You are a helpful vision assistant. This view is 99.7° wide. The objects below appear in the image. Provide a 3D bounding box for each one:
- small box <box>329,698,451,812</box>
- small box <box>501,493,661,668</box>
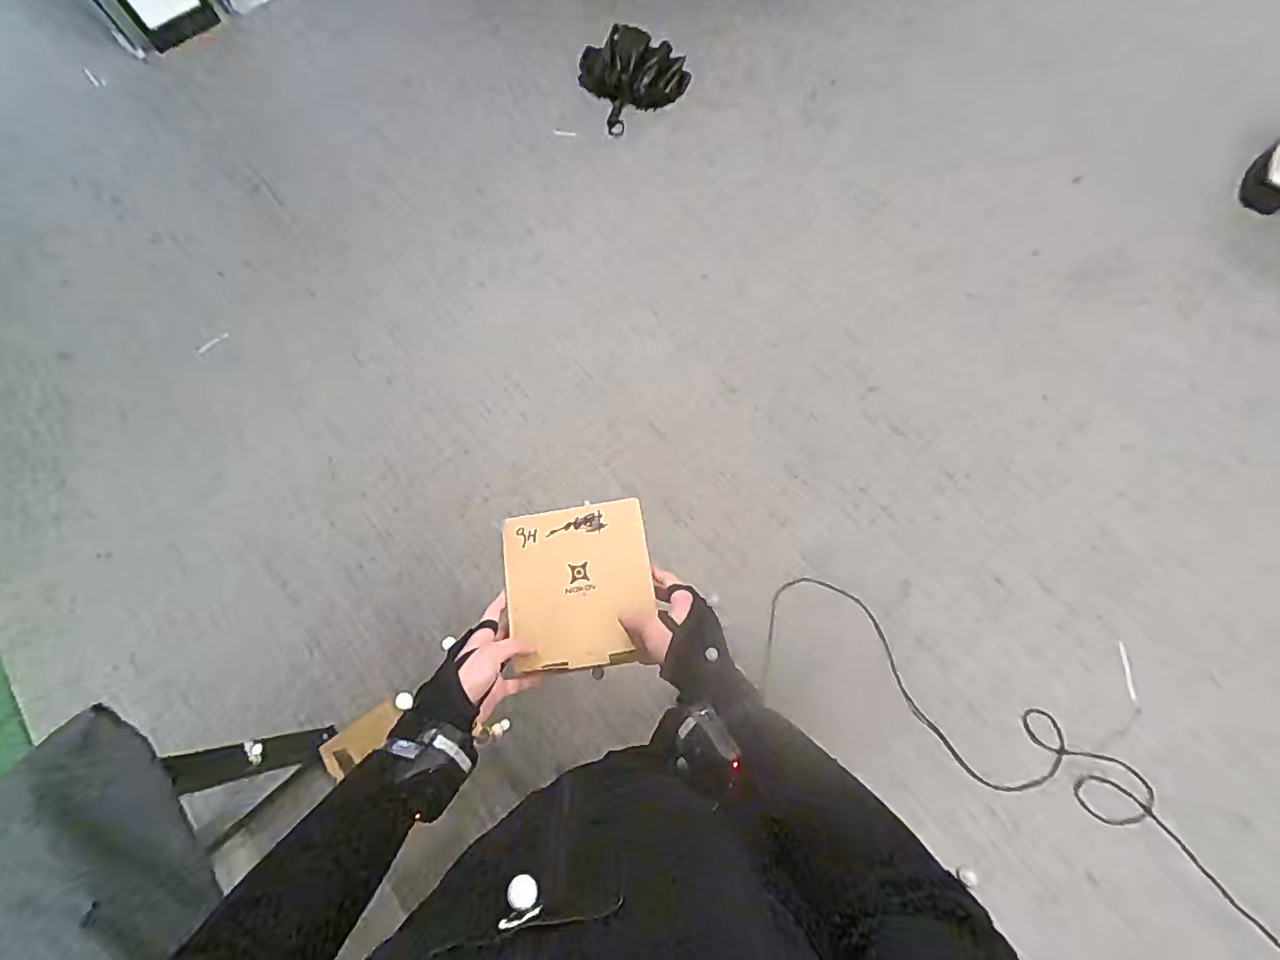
[{"bbox_3d":[-0.582,0.640,1.278,0.179,0.176,0.168,-34,72,-10],"label":"small box"},{"bbox_3d":[-0.067,0.135,0.682,0.168,0.176,0.179,-10,69,0],"label":"small box"}]
